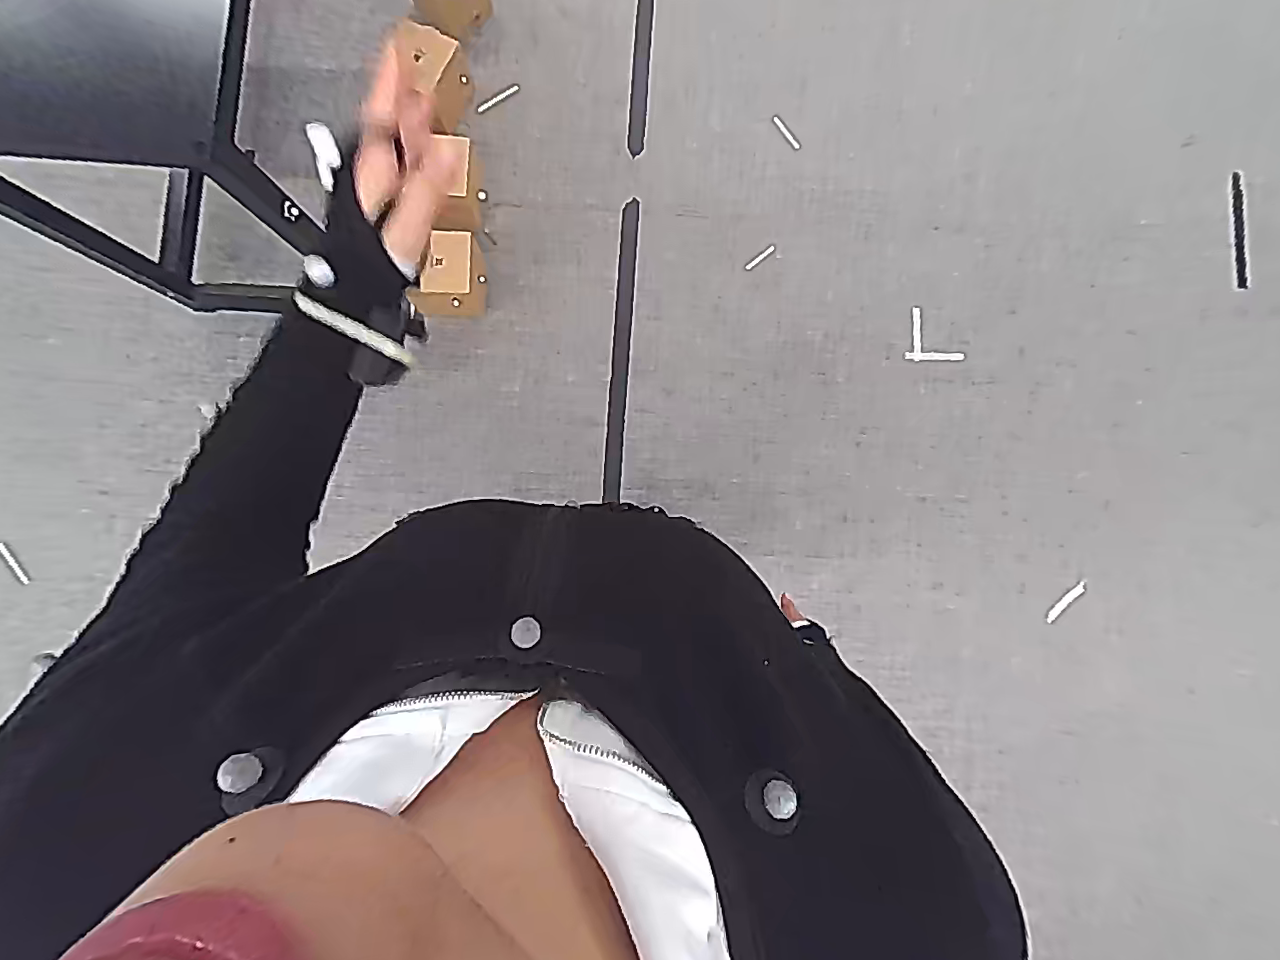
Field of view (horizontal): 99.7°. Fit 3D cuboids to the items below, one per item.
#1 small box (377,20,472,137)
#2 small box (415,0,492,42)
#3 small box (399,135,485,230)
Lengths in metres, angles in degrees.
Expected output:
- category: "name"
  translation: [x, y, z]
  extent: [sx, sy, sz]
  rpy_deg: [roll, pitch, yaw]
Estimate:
- category: "small box"
  translation: [-0.589, -1.109, 1.509]
  extent: [0.168, 0.176, 0.179]
  rpy_deg: [24, 87, 1]
- category: "small box"
  translation: [-0.549, -1.409, 1.528]
  extent: [0.168, 0.176, 0.179]
  rpy_deg: [-43, 88, -4]
- category: "small box"
  translation: [-0.538, -0.812, 1.488]
  extent: [0.179, 0.176, 0.168]
  rpy_deg: [2, 86, -3]
